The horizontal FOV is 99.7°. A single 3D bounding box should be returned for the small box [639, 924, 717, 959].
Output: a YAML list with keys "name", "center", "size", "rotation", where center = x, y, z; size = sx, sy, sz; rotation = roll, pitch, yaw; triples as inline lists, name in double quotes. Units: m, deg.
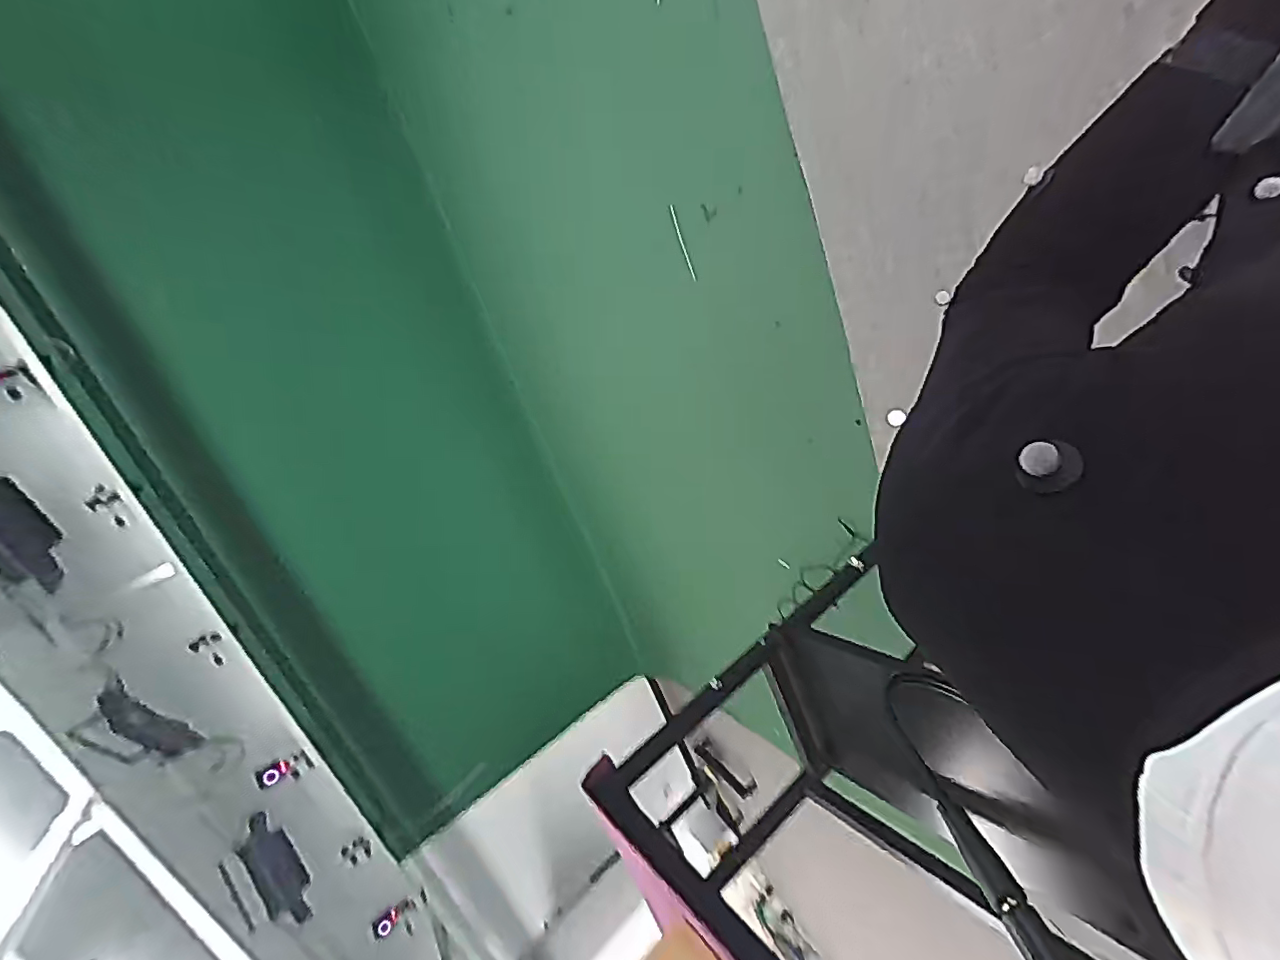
- name: "small box"
  center: [0.088, 0.978, 0.994]
  size: [0.179, 0.176, 0.168]
  rotation: [-2, 116, 59]
